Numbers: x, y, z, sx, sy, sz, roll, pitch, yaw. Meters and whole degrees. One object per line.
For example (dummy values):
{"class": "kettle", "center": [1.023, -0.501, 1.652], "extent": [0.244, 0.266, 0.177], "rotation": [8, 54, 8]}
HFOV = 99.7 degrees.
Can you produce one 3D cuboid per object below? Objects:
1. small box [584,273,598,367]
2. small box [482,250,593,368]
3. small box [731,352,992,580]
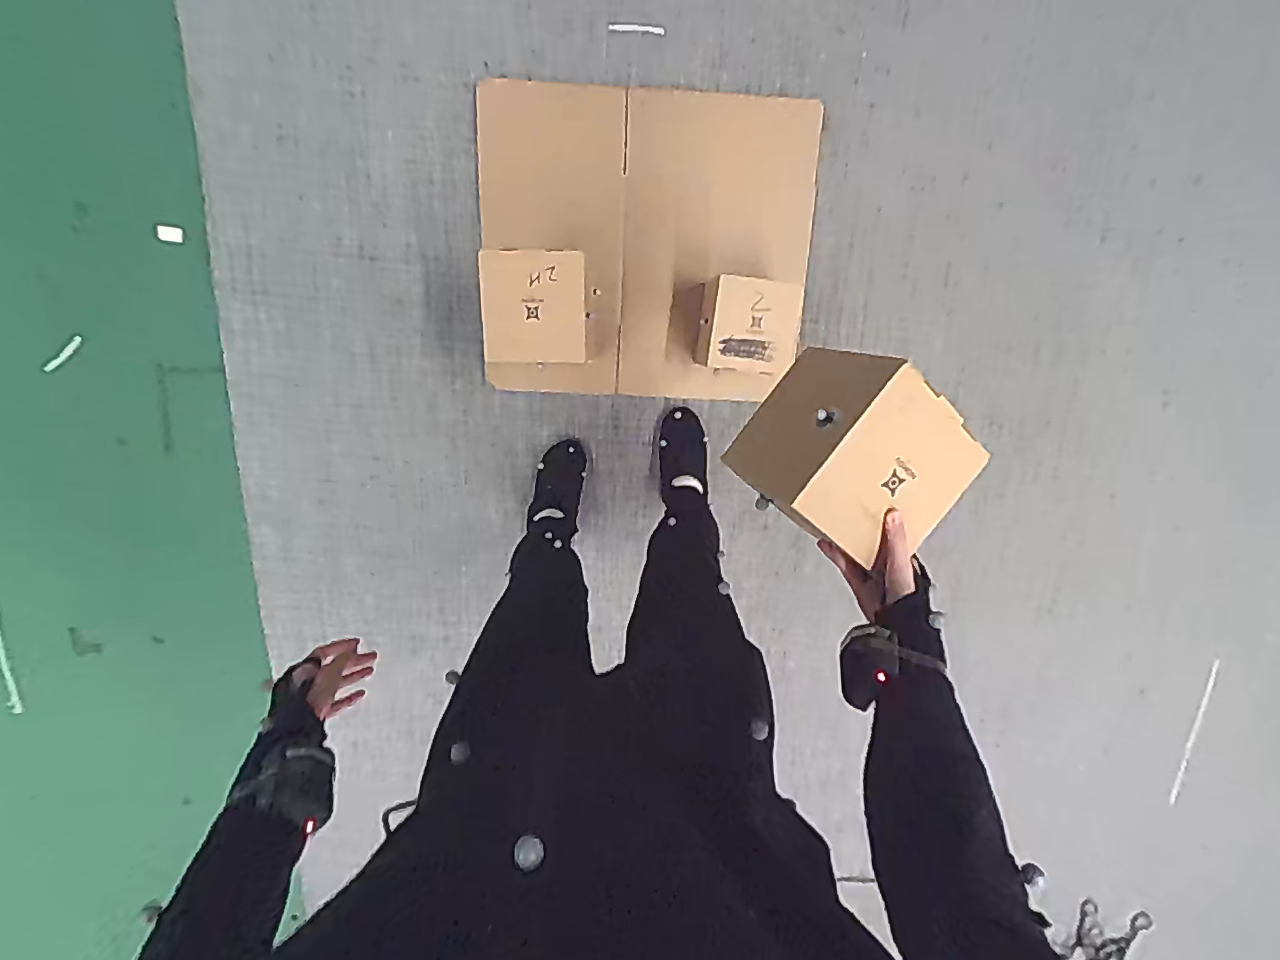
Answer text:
{"class": "small box", "center": [-0.171, -0.325, 1.098], "extent": [0.168, 0.176, 0.179], "rotation": [1, 104, -2]}
{"class": "small box", "center": [-0.168, -0.290, 0.937], "extent": [0.168, 0.176, 0.179], "rotation": [1, 104, -2]}
{"class": "small box", "center": [0.234, -0.027, 0.608], "extent": [0.168, 0.176, 0.179], "rotation": [37, 93, -23]}
